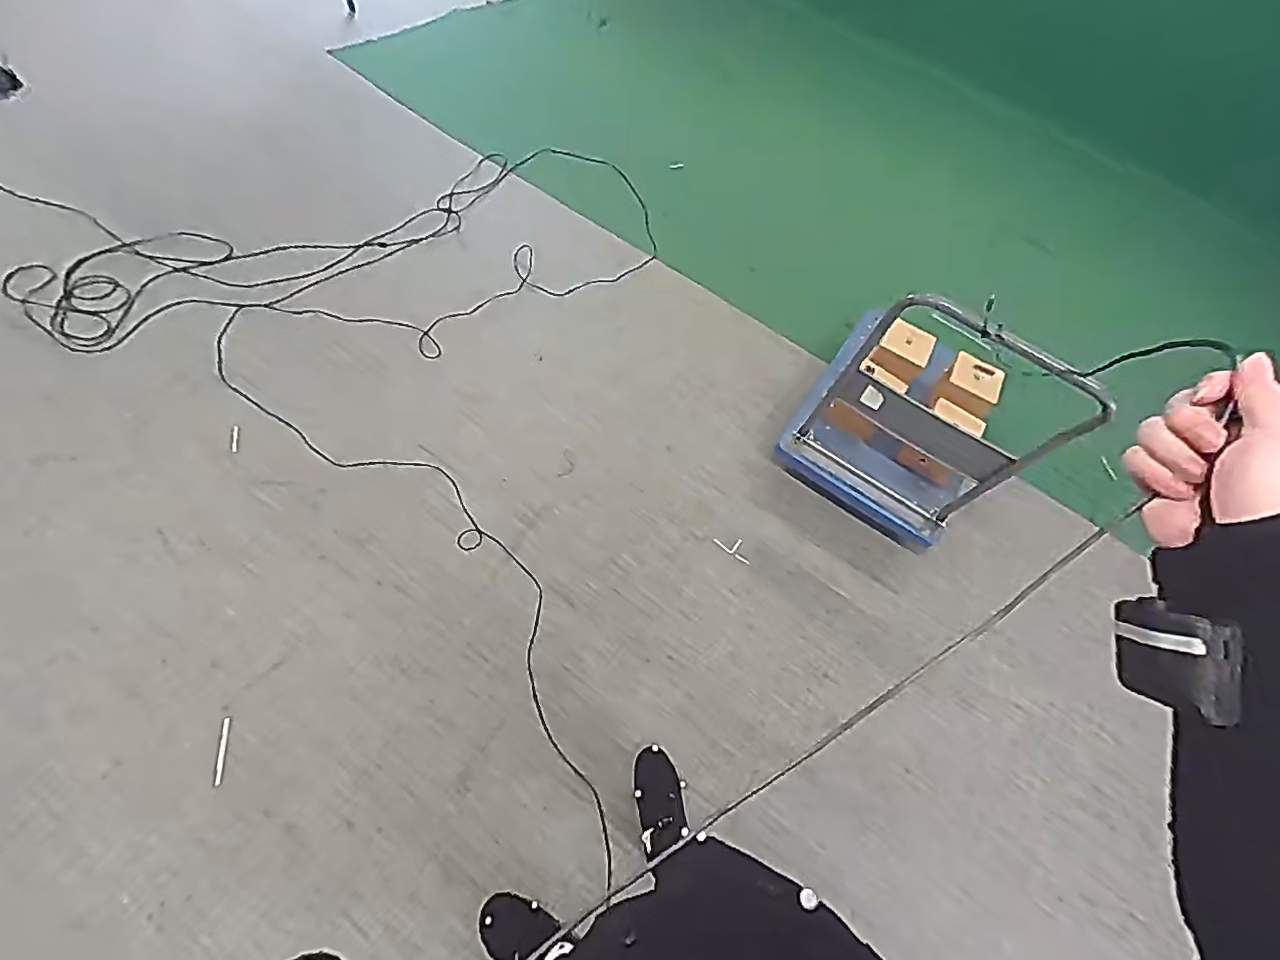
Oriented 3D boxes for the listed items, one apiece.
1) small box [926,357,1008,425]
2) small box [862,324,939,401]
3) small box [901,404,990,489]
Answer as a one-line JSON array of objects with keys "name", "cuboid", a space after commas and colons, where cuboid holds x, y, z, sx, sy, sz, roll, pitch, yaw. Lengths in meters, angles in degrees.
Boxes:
[{"name": "small box", "cuboid": [1.131, -0.286, 1.880, 0.168, 0.176, 0.179, 30, 60, 9]}, {"name": "small box", "cuboid": [0.916, -0.412, 1.918, 0.168, 0.176, 0.179, 31, 59, 8]}, {"name": "small box", "cuboid": [0.980, -0.106, 1.747, 0.168, 0.176, 0.179, 35, 61, 11]}]
